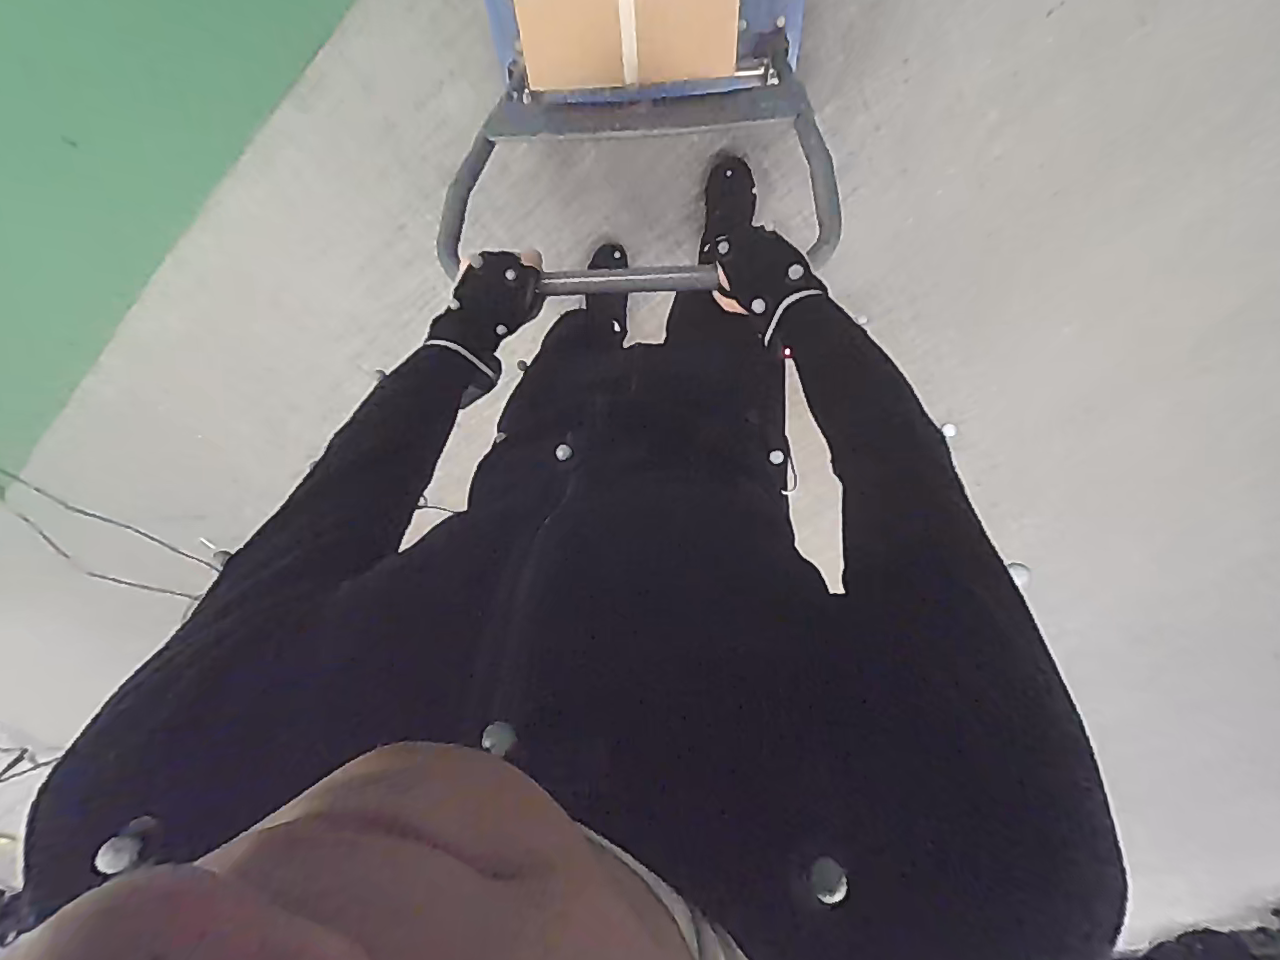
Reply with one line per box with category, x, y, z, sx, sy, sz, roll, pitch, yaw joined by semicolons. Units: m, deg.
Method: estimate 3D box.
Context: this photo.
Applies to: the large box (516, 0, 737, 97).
large box;-0.016;-0.844;0.790;0.320;0.320;0.408;0;138;5
